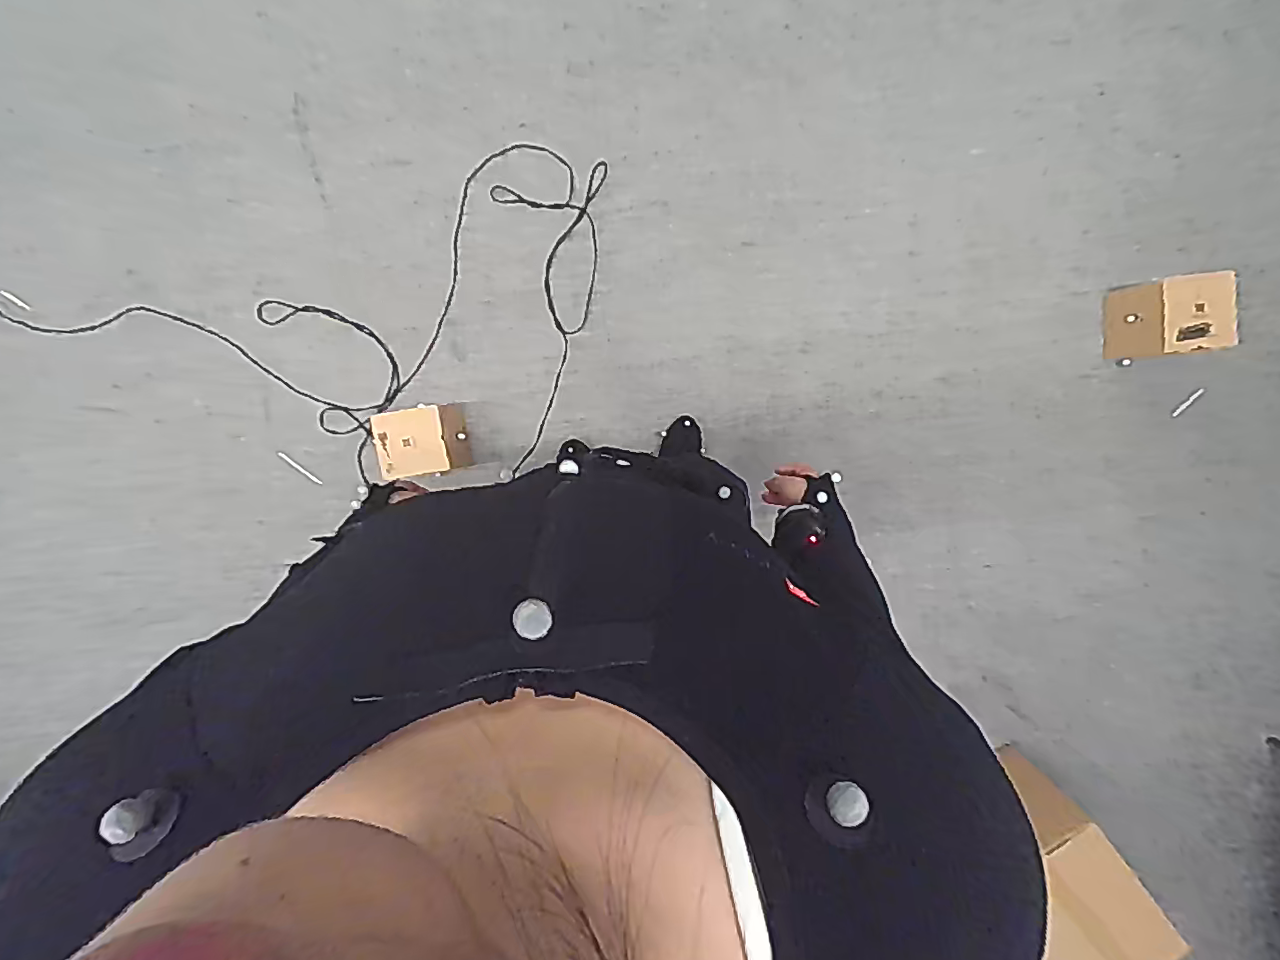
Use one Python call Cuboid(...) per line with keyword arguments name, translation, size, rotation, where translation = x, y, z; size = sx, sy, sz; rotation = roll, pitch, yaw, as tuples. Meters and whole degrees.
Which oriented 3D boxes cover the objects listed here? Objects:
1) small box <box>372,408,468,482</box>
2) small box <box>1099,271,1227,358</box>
Cuboid(name="small box", translation=(-0.560, -0.095, 1.407), size=(0.179, 0.176, 0.168), rotation=(-9, 96, 1))
Cuboid(name="small box", translation=(1.289, -0.403, 1.345), size=(0.168, 0.176, 0.179), rotation=(-5, 96, 2))
